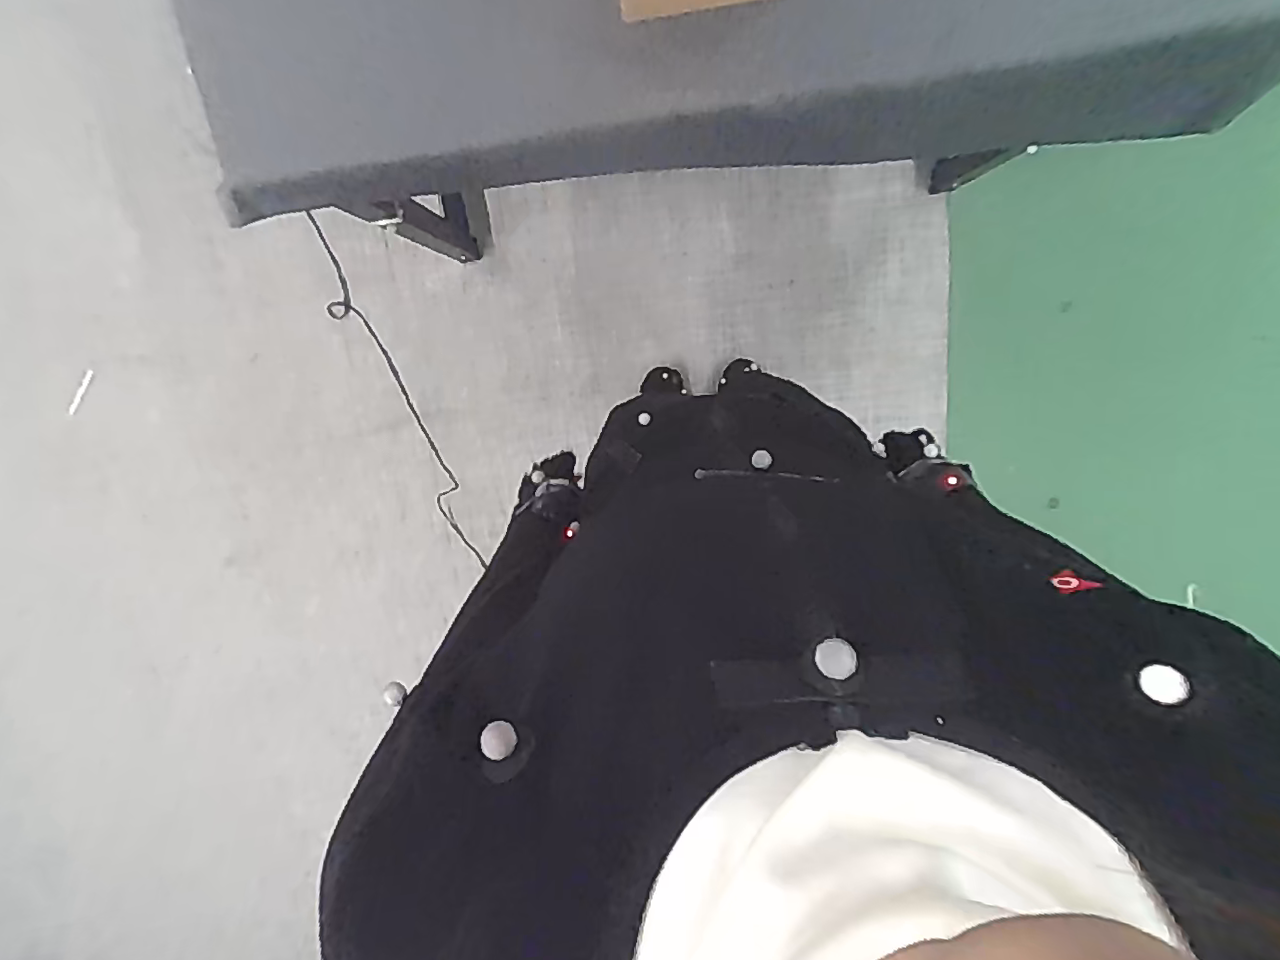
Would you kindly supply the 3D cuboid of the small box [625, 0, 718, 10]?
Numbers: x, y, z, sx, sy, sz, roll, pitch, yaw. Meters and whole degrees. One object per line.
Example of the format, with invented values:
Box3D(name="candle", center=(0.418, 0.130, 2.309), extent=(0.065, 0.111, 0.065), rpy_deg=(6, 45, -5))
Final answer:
Box3D(name="small box", center=(0.056, -0.563, 0.476), extent=(0.179, 0.176, 0.168), rpy_deg=(-8, 103, 2))
